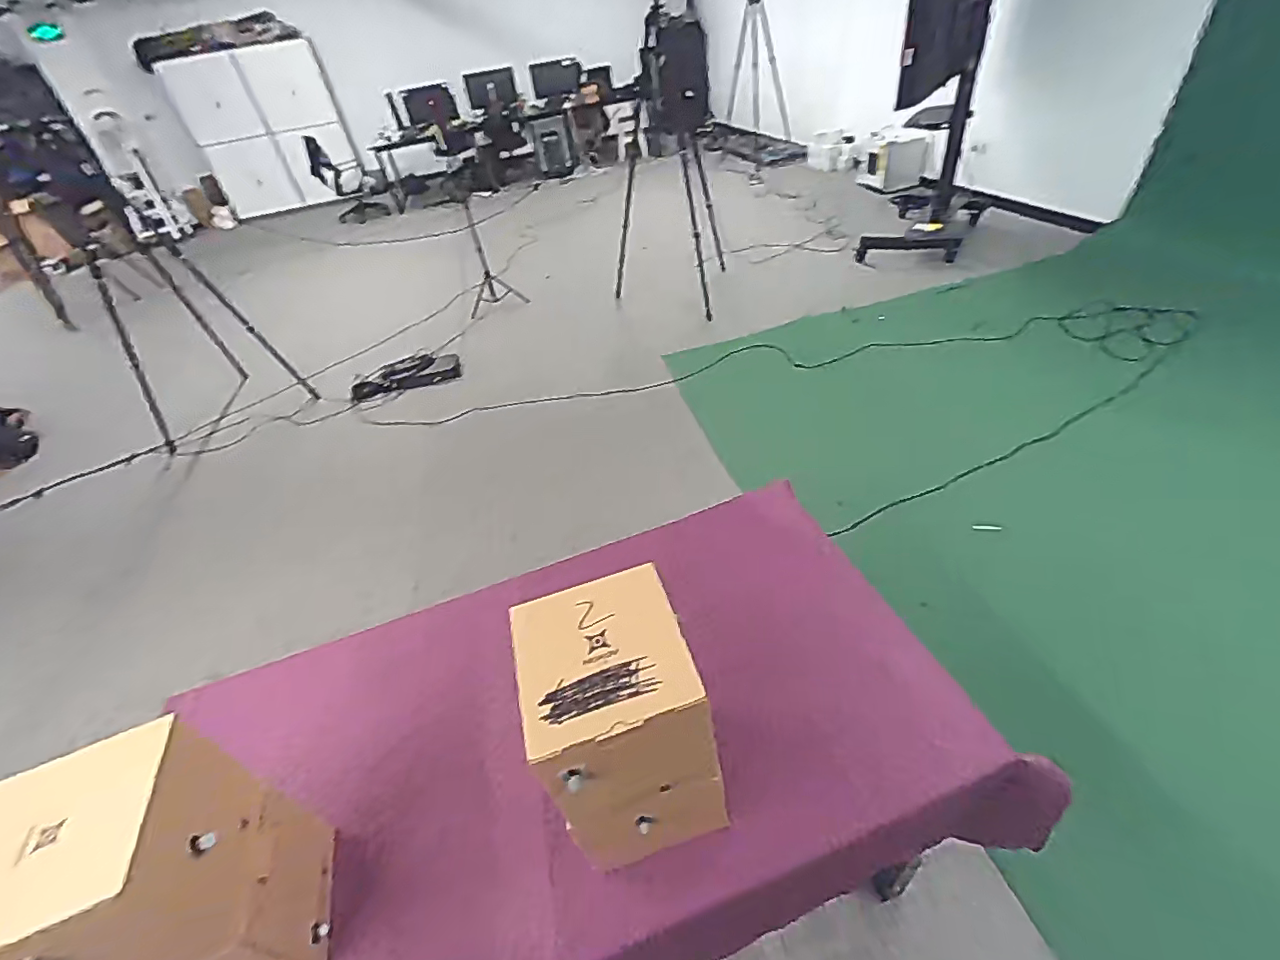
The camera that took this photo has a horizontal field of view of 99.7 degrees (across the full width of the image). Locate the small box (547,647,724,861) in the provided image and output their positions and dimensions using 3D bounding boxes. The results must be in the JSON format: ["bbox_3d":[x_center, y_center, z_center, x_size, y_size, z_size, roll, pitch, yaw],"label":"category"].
[{"bbox_3d":[-0.004,0.349,0.687,0.179,0.176,0.168,-16,42,-6],"label":"small box"}]

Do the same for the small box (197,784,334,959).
[{"bbox_3d":[-0.485,0.497,0.627,0.179,0.176,0.168,-21,41,-10],"label":"small box"}]

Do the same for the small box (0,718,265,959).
[{"bbox_3d":[-0.504,0.373,0.523,0.179,0.176,0.168,-22,42,-11],"label":"small box"}]
